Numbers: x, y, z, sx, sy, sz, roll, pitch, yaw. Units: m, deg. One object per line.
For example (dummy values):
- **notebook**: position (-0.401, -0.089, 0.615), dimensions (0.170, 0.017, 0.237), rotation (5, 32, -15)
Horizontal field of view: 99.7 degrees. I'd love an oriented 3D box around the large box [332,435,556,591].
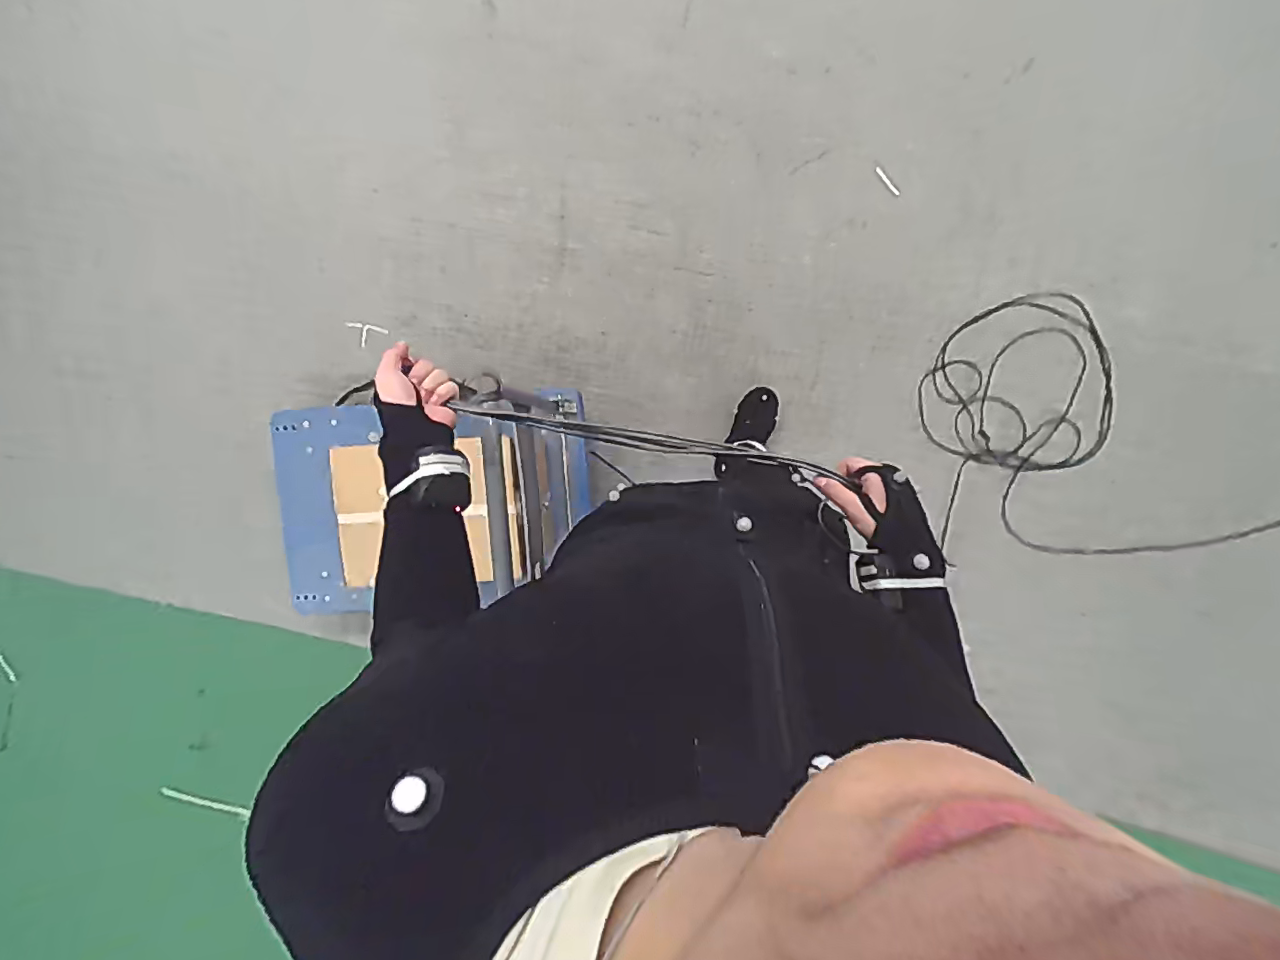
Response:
- **large box**: position (-0.445, 0.063, 1.308), dimensions (0.408, 0.320, 0.320), rotation (-4, 94, 5)
